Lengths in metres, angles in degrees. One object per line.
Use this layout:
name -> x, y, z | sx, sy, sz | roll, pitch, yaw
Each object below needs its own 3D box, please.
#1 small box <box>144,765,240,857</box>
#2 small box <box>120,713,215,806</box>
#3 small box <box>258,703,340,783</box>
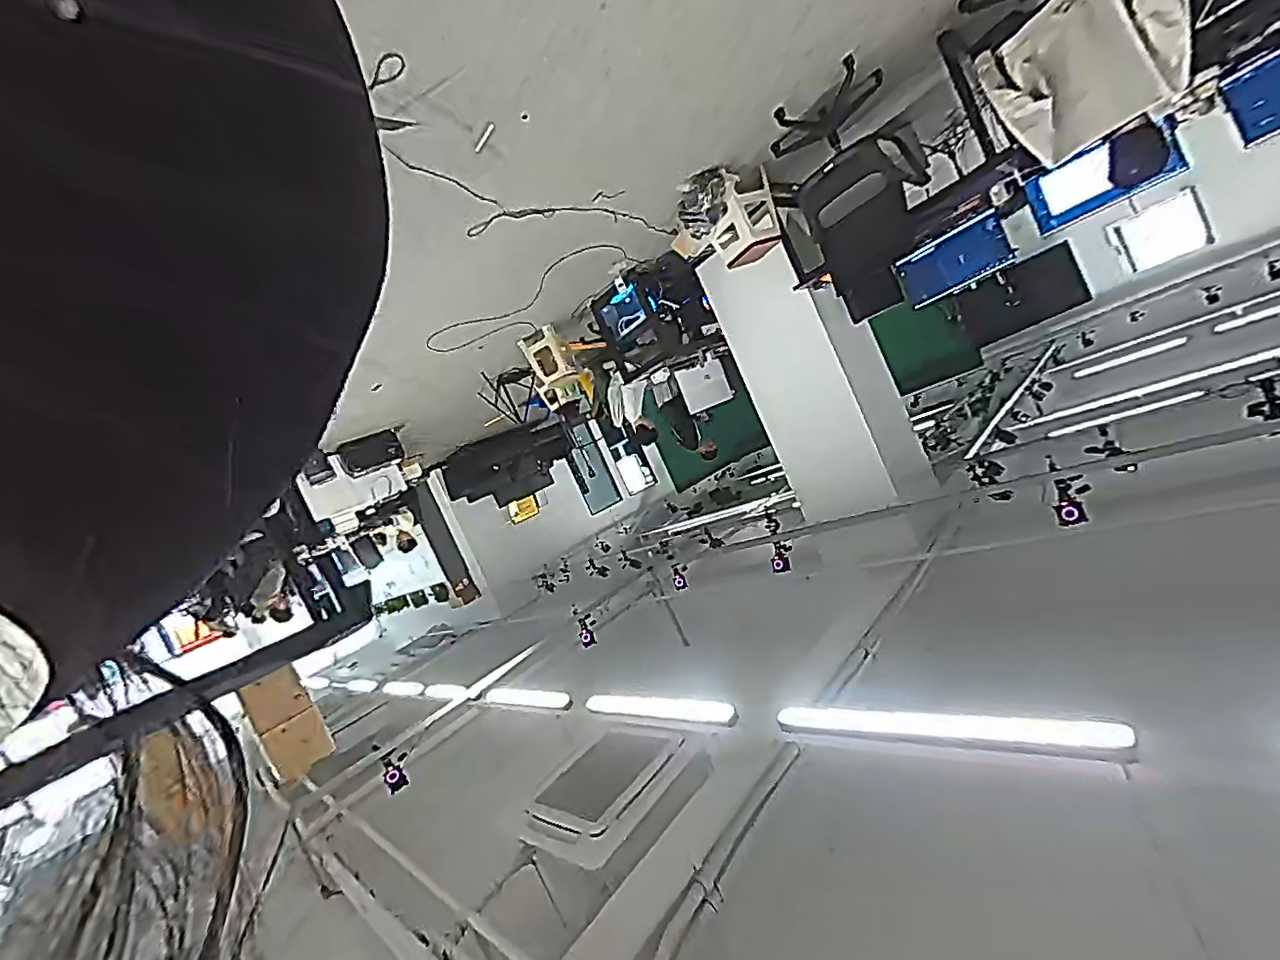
small box -> -1.325, 0.960, 1.598 | 0.179, 0.176, 0.168 | -22, -175, 45
small box -> -1.388, 0.811, 1.588 | 0.179, 0.176, 0.168 | -19, -175, 46
small box -> -1.135, 0.862, 1.792 | 0.179, 0.176, 0.168 | -19, -174, 46
